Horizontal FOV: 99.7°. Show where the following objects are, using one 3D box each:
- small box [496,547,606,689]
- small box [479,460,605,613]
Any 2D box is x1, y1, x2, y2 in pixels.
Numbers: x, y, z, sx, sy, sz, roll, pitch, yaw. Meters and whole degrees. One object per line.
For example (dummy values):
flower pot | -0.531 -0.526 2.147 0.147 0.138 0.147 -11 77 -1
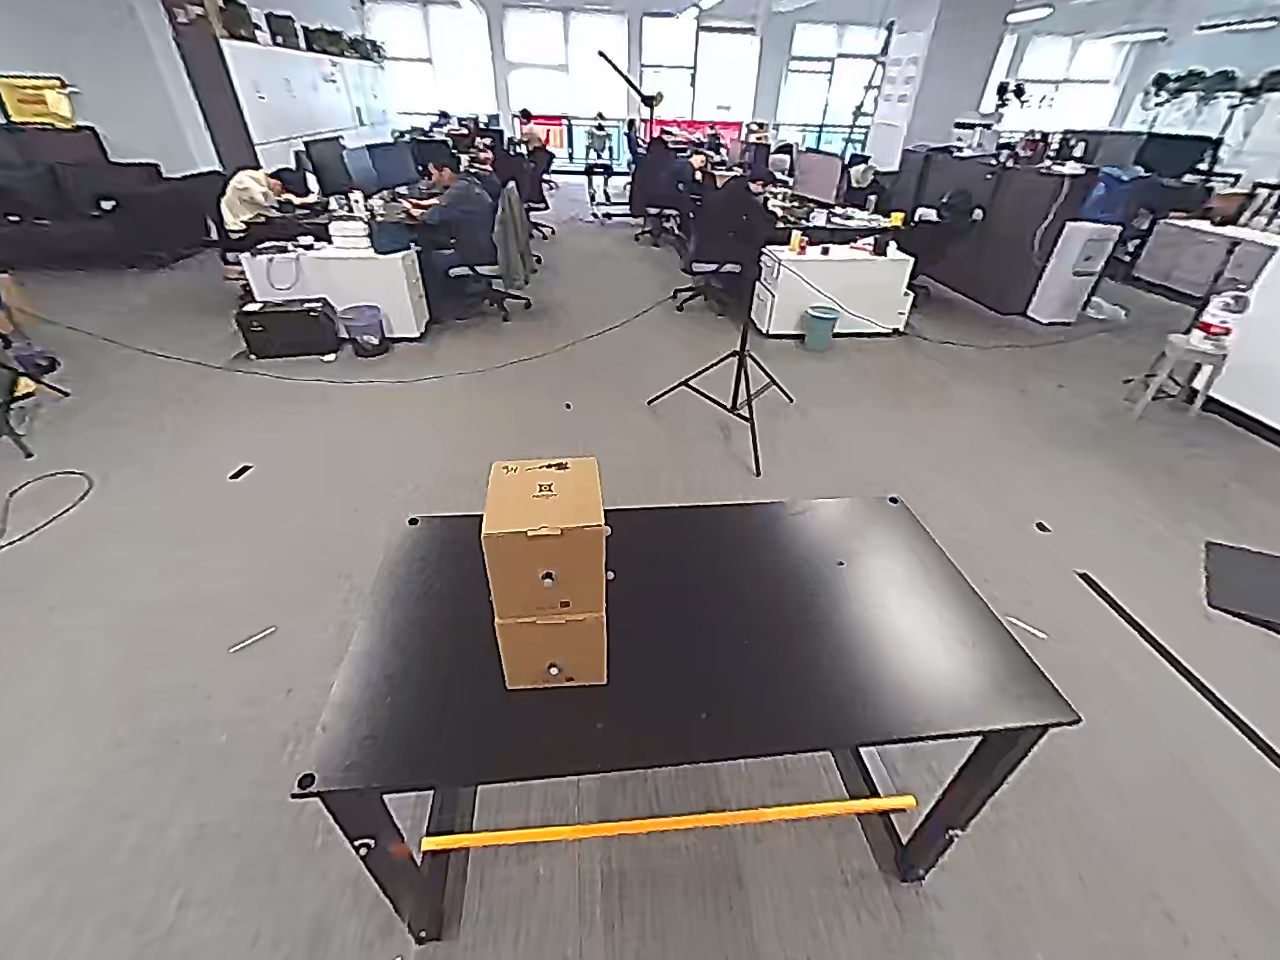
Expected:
small box | -0.143 0.229 0.923 0.168 0.176 0.179 -2 35 -4
small box | -0.143 0.090 0.836 0.168 0.176 0.179 -3 36 -7
